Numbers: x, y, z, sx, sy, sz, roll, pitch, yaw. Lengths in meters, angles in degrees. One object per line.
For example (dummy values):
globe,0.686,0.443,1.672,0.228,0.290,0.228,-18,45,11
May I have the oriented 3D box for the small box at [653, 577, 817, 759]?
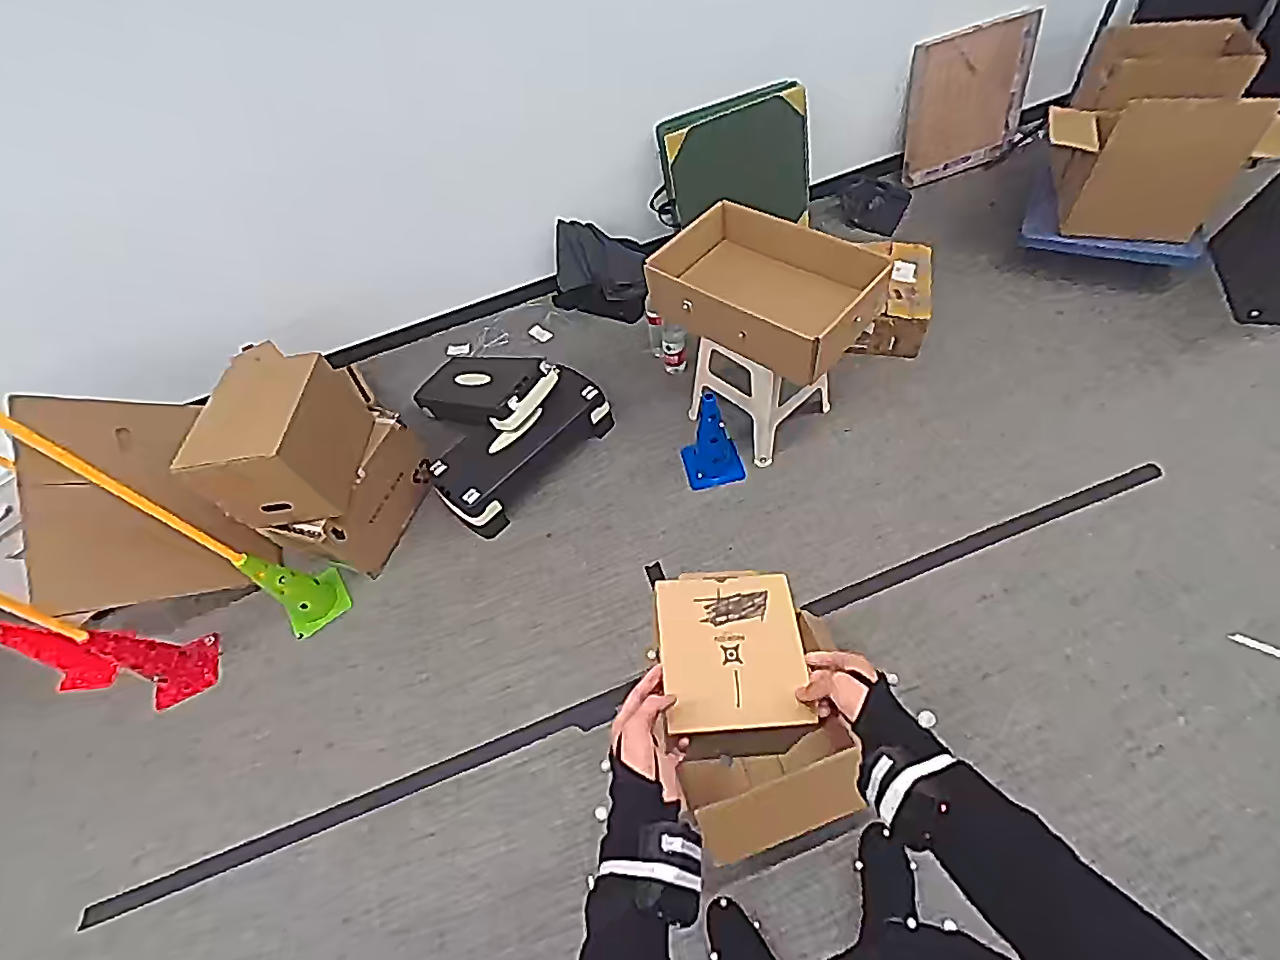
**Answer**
small box,0.105,0.243,0.695,0.168,0.176,0.179,-3,54,-2
